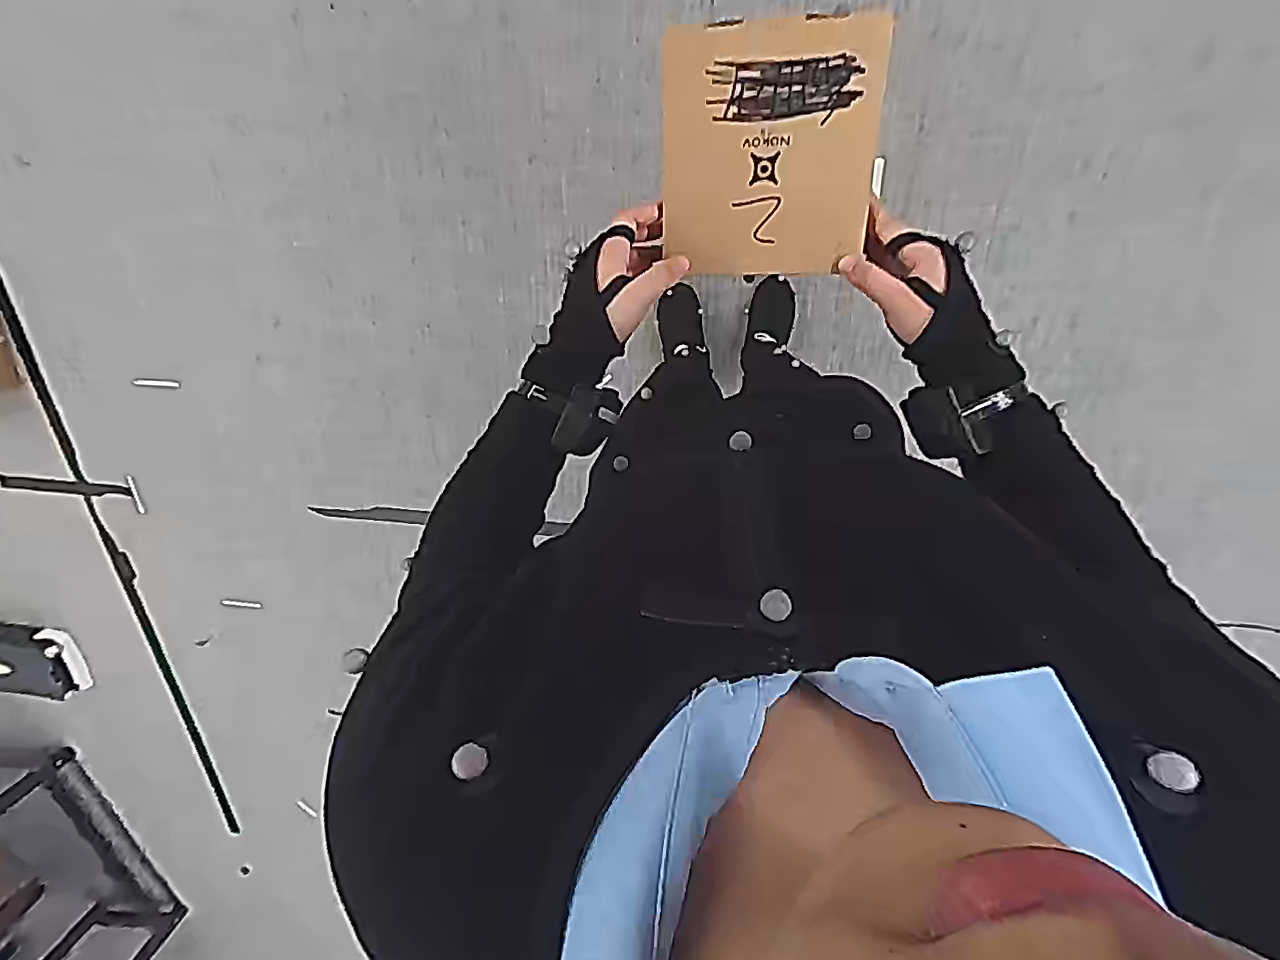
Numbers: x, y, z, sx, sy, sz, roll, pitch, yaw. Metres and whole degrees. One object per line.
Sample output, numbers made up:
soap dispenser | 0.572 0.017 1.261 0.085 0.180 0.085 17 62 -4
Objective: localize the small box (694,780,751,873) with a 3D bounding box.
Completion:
small box | 0.256 1.078 1.687 0.168 0.176 0.179 1 112 7

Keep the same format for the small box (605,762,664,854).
small box | -0.013 1.032 1.706 0.168 0.176 0.179 2 113 7
